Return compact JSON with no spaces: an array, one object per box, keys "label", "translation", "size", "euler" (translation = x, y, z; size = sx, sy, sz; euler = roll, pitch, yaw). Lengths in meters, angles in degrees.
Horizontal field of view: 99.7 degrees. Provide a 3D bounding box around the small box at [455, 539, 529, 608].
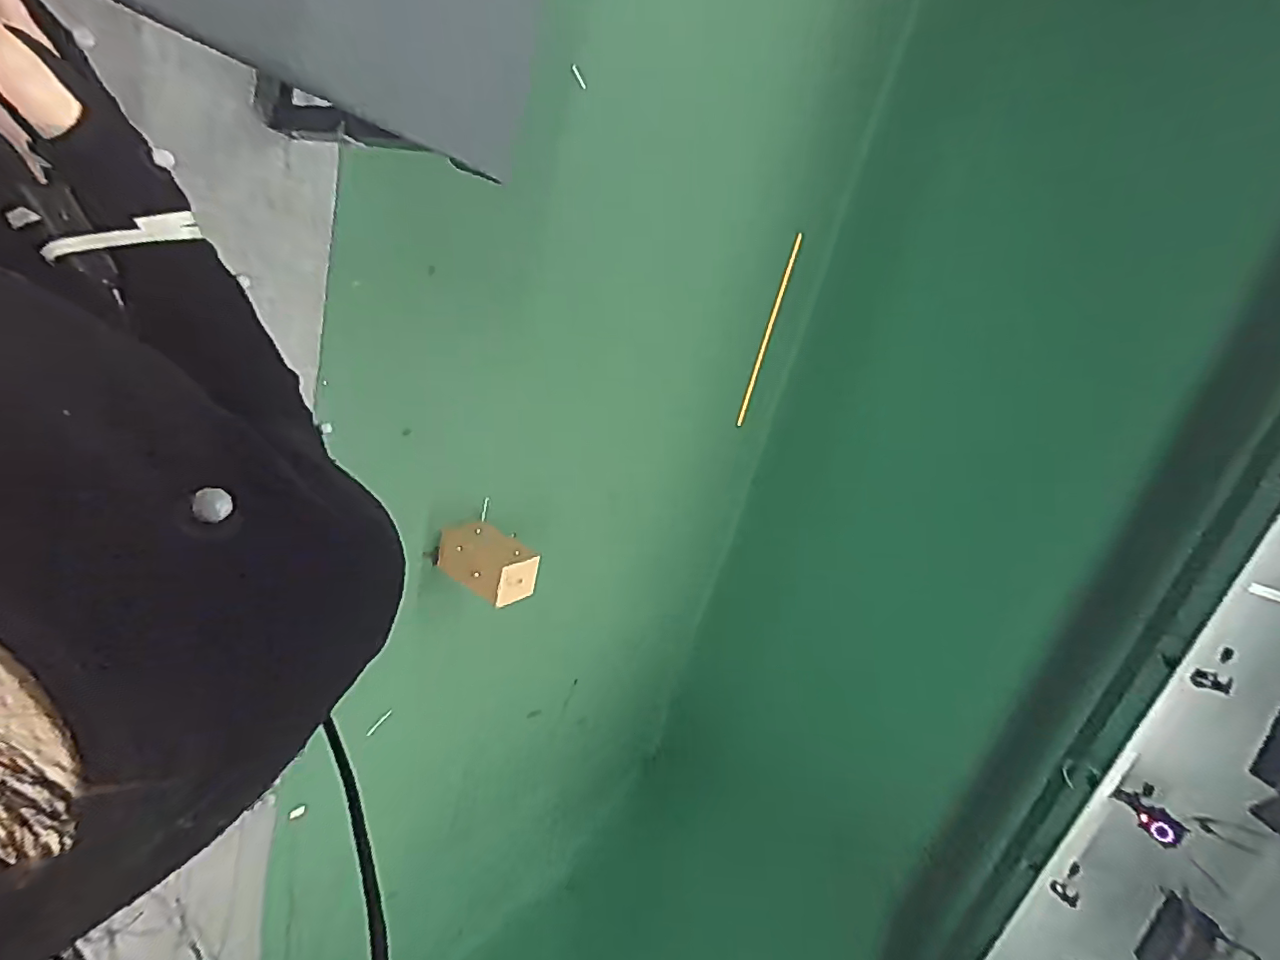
[{"label":"small box","translation":[-0.532,0.328,1.944],"size":[0.179,0.176,0.168],"euler":[-12,122,-54]}]
